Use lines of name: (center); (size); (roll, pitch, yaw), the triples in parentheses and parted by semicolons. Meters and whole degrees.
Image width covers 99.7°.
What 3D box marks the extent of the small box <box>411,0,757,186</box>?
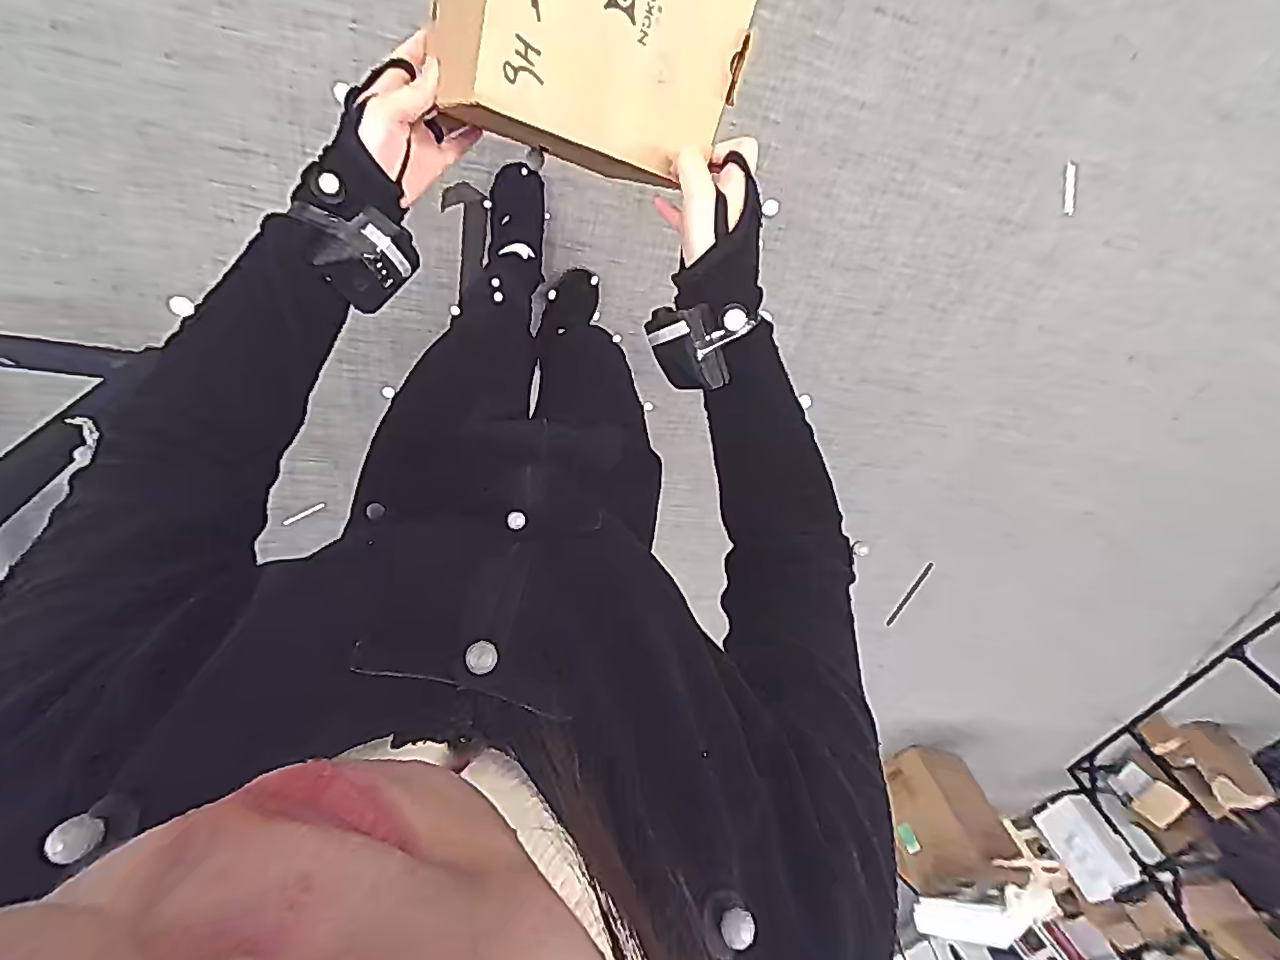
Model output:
small box: (-0.043, -0.328, 0.374); (0.179, 0.176, 0.168); (1, 120, -35)
